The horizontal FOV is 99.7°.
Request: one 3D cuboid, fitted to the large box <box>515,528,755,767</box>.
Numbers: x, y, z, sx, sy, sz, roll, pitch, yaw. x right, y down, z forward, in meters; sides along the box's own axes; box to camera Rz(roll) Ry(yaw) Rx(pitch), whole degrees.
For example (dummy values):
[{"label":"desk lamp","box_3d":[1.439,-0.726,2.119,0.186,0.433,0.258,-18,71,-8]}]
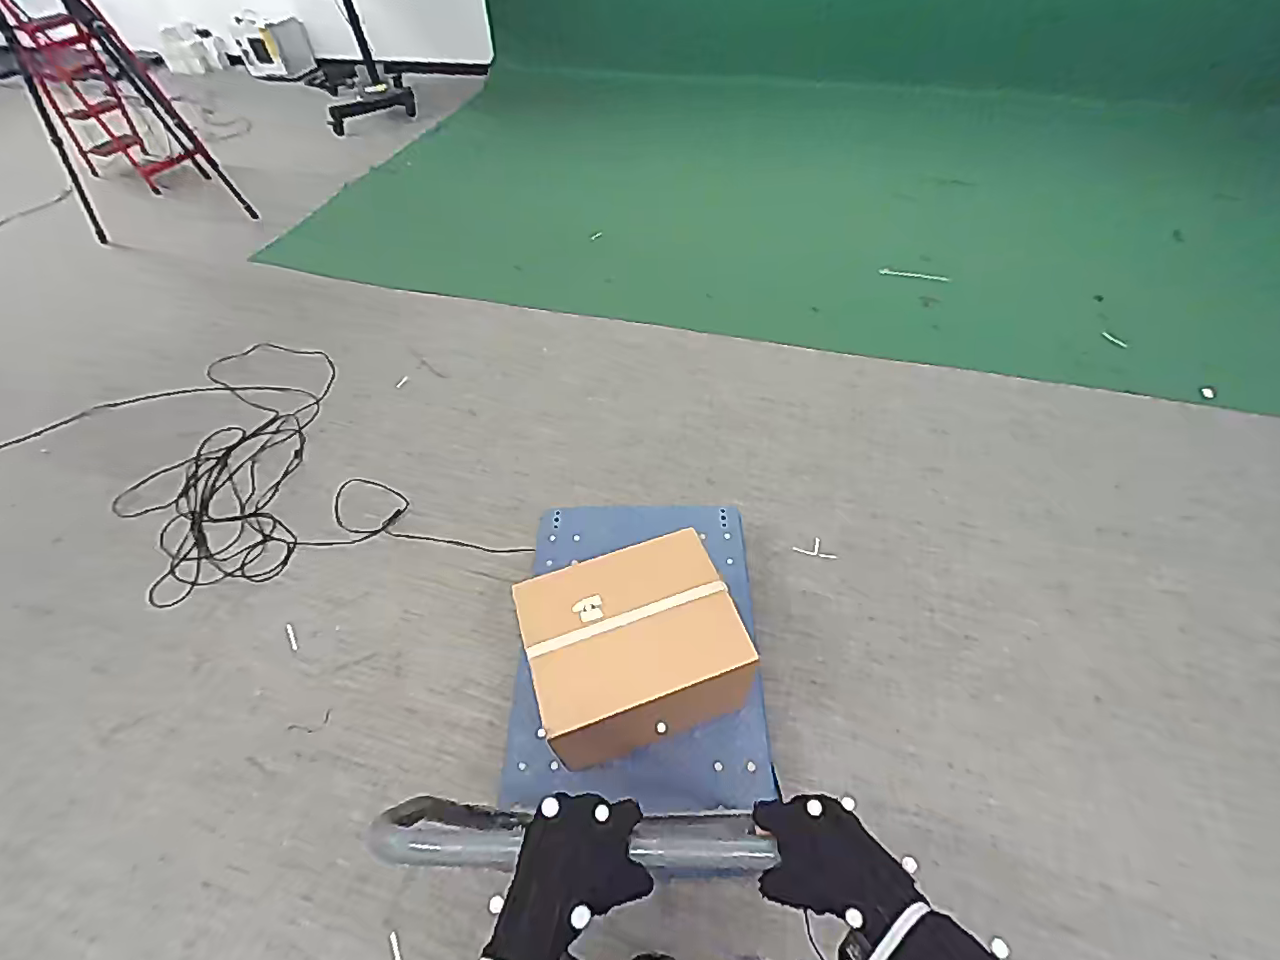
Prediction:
[{"label":"large box","box_3d":[-0.011,0.363,1.171,0.408,0.320,0.320,-18,52,-10]}]
